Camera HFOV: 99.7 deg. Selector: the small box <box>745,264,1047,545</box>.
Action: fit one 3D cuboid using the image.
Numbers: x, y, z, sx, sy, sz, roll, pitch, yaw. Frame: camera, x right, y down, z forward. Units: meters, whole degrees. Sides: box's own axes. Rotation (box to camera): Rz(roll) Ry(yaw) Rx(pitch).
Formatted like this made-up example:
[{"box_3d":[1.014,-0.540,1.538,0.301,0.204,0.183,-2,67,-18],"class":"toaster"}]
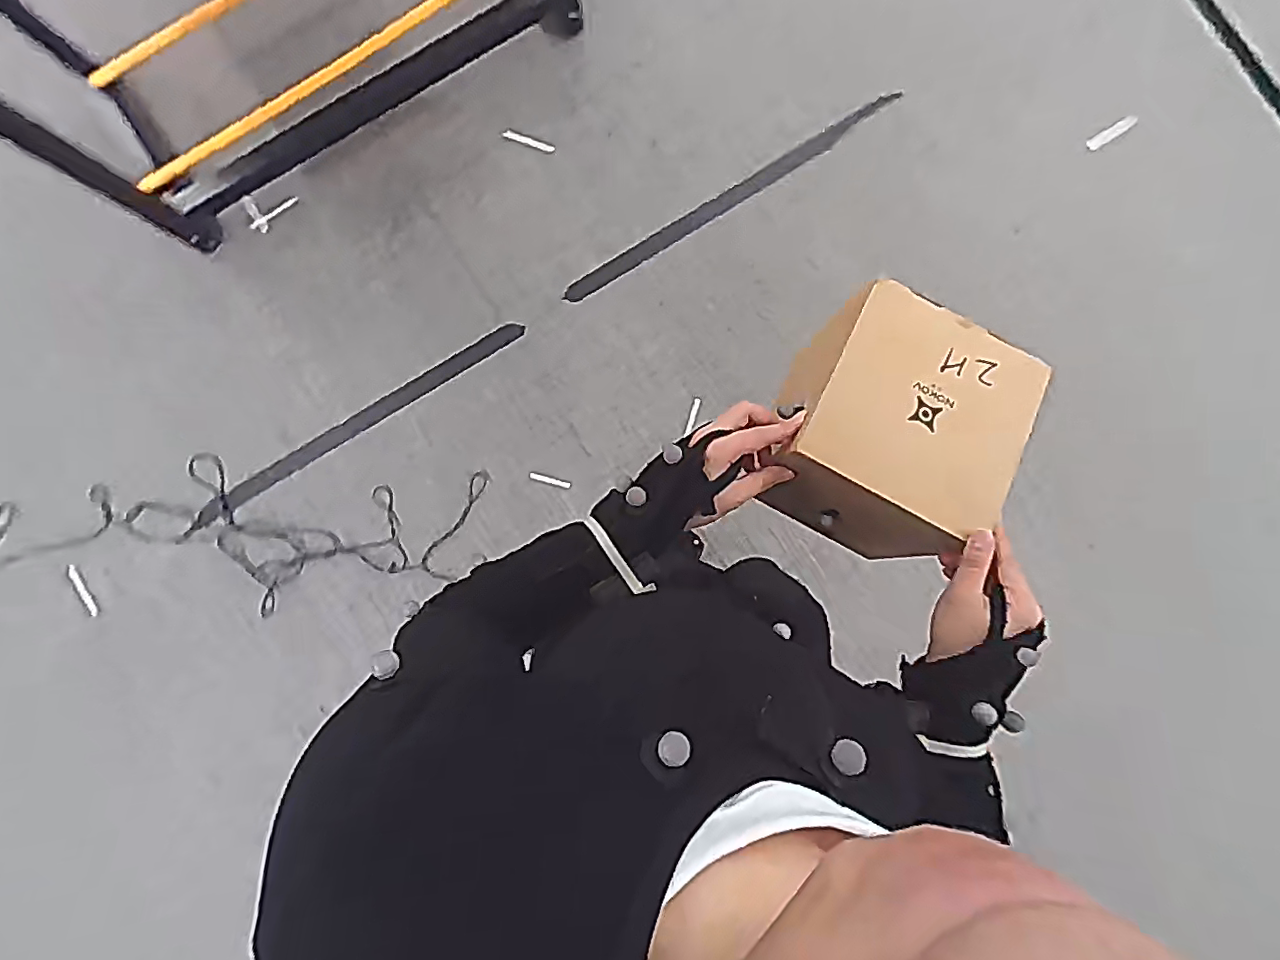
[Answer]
[{"box_3d":[0.215,-0.051,0.501,0.168,0.176,0.179,28,77,-1],"class":"small box"}]
